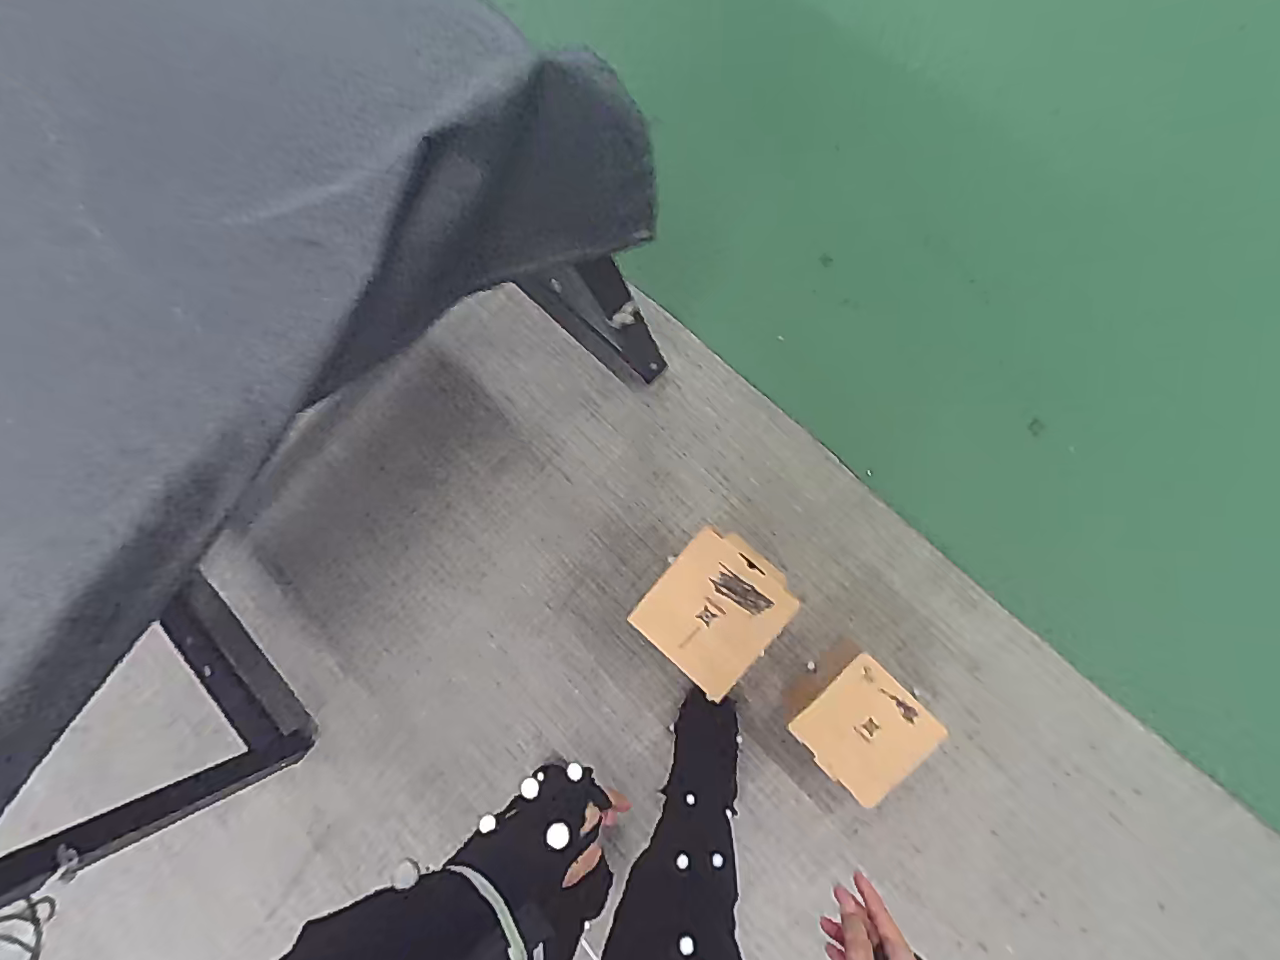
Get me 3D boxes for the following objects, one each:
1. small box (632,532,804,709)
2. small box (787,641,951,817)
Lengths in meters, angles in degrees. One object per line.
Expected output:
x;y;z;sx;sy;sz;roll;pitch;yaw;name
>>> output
0.115;0.195;0.799;0.168;0.176;0.179;40;93;14;small box
0.362;0.395;0.893;0.179;0.176;0.168;-46;78;5;small box
